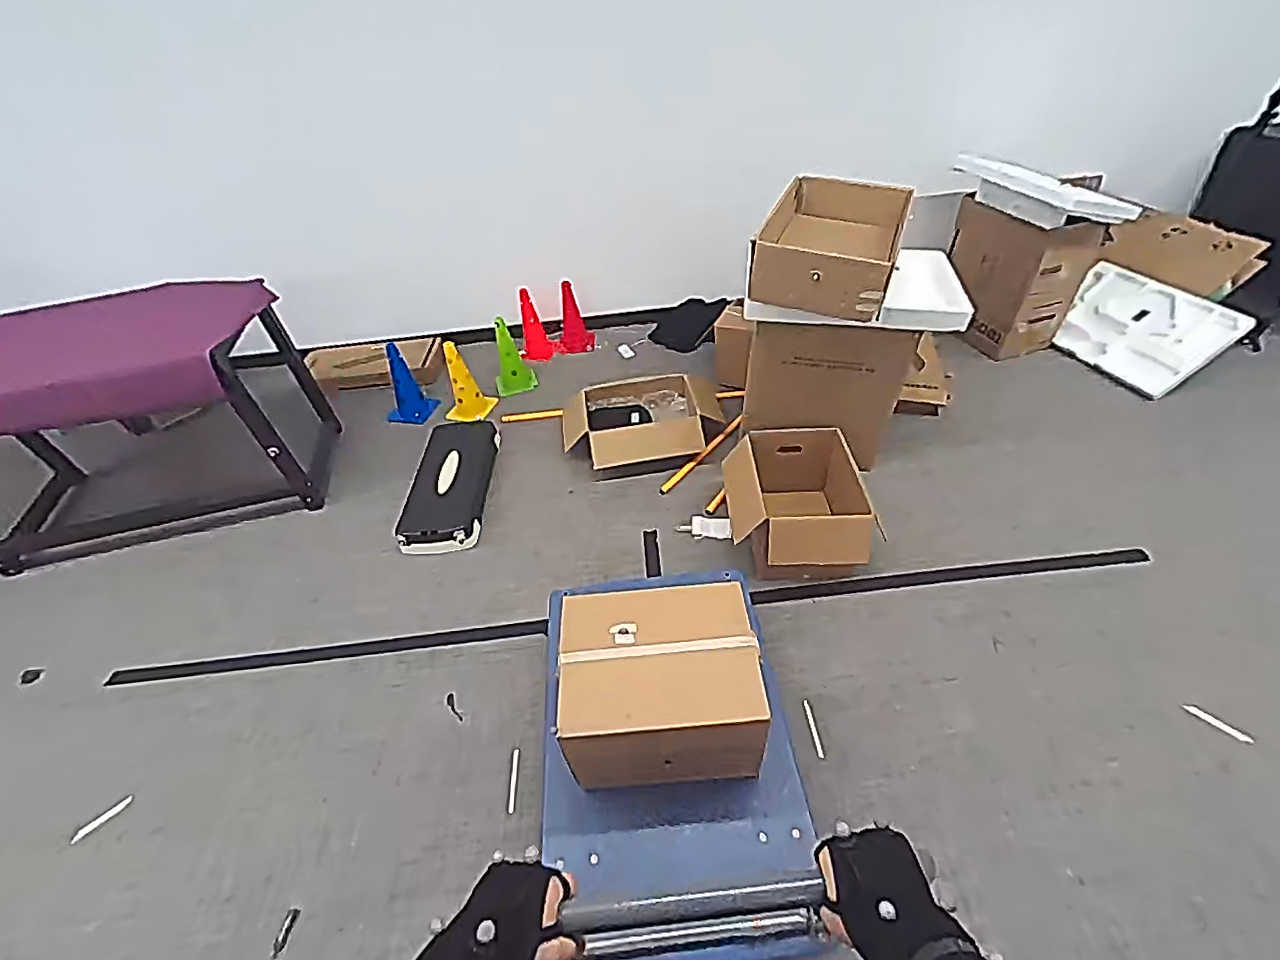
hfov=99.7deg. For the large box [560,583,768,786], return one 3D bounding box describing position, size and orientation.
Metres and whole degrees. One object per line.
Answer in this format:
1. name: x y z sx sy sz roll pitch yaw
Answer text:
1. large box: 0.049 0.467 1.230 0.408 0.320 0.320 -6 43 1
